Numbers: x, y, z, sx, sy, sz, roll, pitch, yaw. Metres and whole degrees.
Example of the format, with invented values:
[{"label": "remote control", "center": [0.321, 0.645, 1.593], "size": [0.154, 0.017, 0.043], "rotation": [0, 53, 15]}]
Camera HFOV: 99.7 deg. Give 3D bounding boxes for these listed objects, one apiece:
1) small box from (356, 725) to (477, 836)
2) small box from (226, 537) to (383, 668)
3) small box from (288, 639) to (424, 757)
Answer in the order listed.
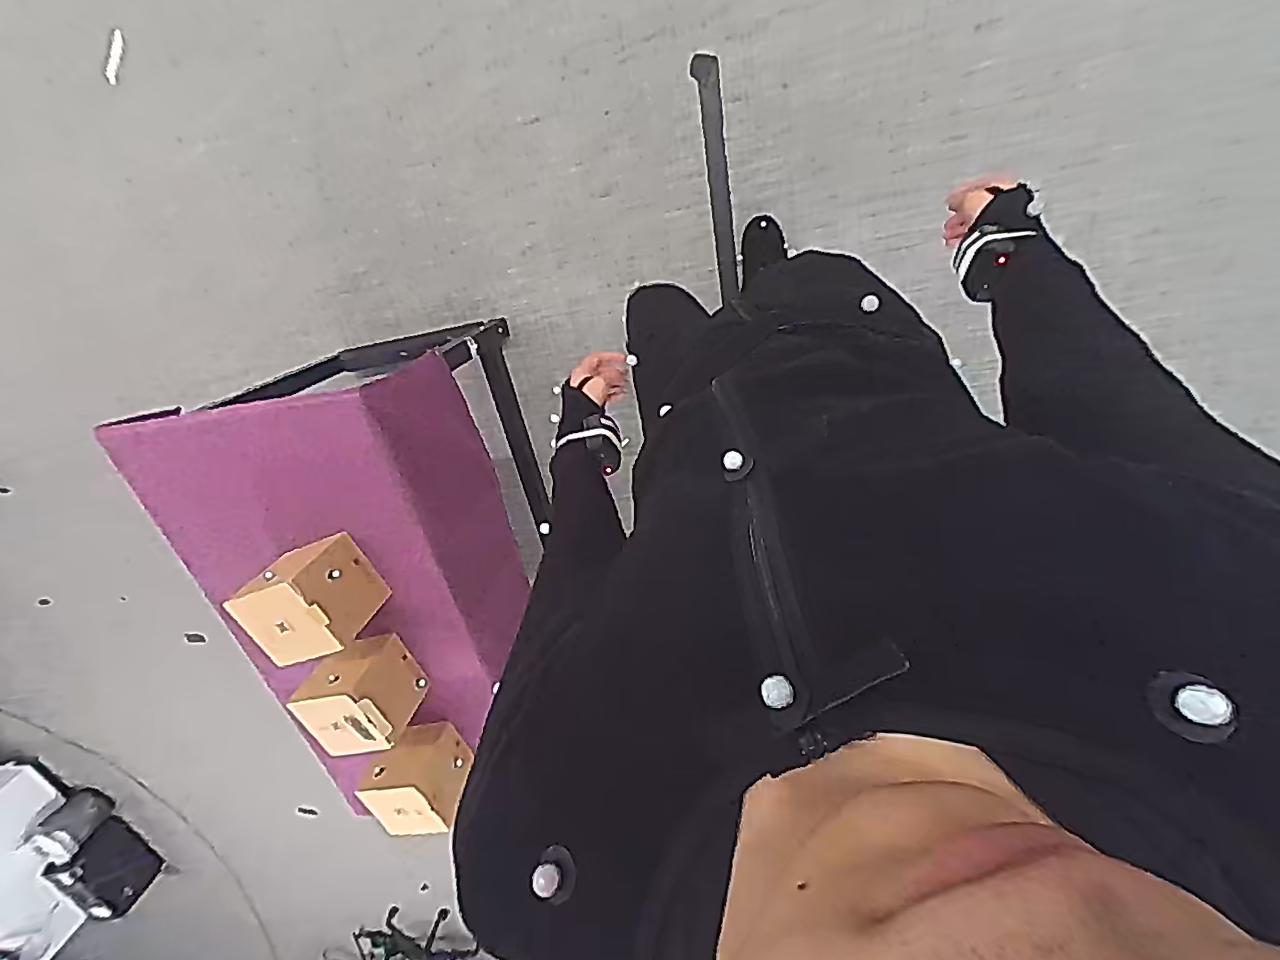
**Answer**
[{"label": "small box", "center": [-0.525, 0.716, 1.295], "size": [0.179, 0.176, 0.168], "rotation": [-15, 114, 16]}, {"label": "small box", "center": [-0.643, 0.236, 1.067], "size": [0.179, 0.176, 0.168], "rotation": [-18, 113, 18]}, {"label": "small box", "center": [-0.603, 0.469, 1.180], "size": [0.179, 0.176, 0.168], "rotation": [-16, 114, 17]}]
